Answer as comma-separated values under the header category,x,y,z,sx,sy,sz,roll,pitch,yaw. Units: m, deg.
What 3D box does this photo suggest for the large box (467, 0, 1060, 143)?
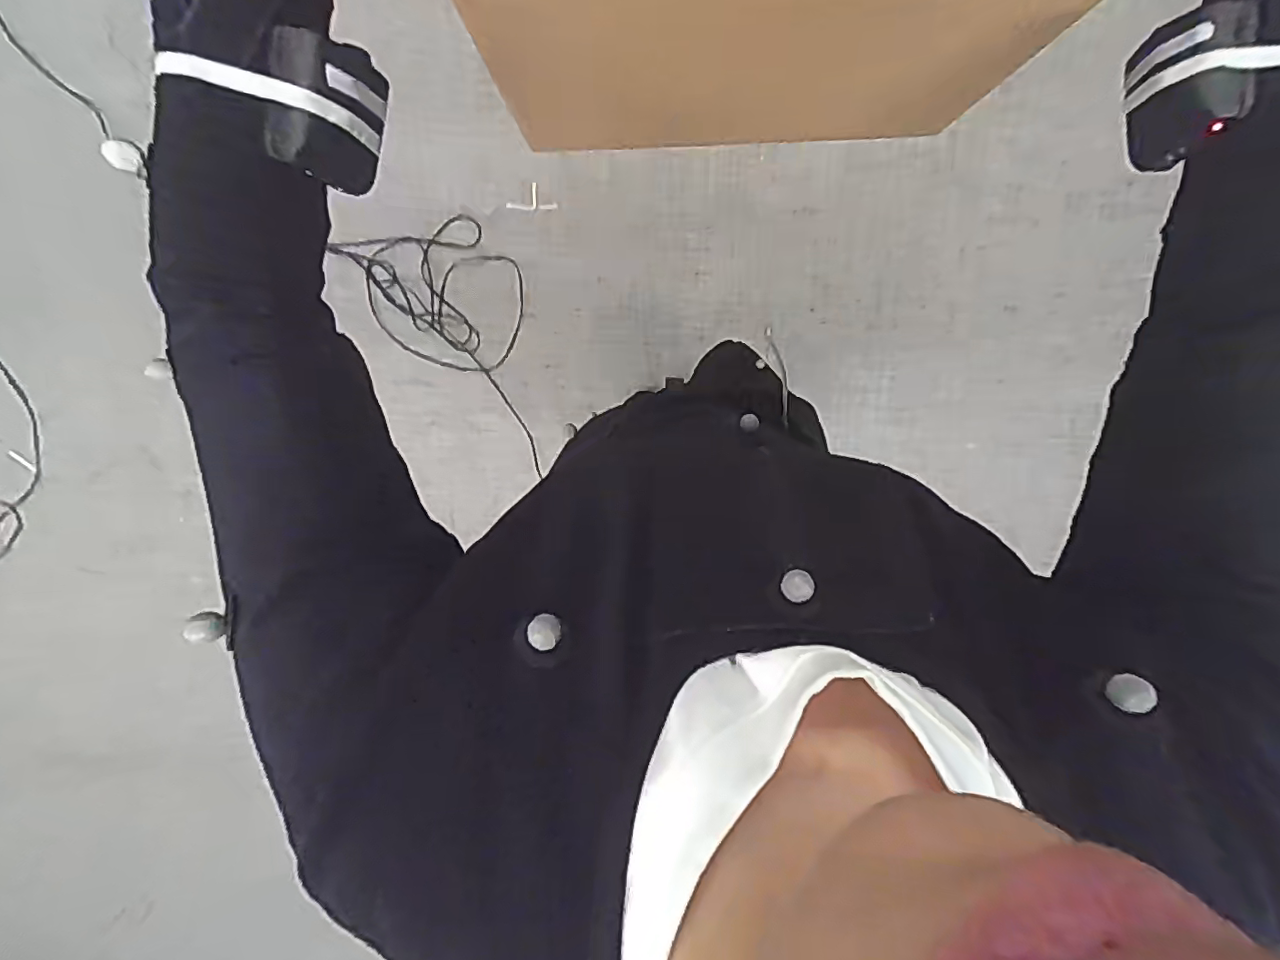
category,x,y,z,sx,sy,sz,roll,pitch,yaw
large box,0.079,-0.461,0.356,0.408,0.320,0.320,-2,102,1
